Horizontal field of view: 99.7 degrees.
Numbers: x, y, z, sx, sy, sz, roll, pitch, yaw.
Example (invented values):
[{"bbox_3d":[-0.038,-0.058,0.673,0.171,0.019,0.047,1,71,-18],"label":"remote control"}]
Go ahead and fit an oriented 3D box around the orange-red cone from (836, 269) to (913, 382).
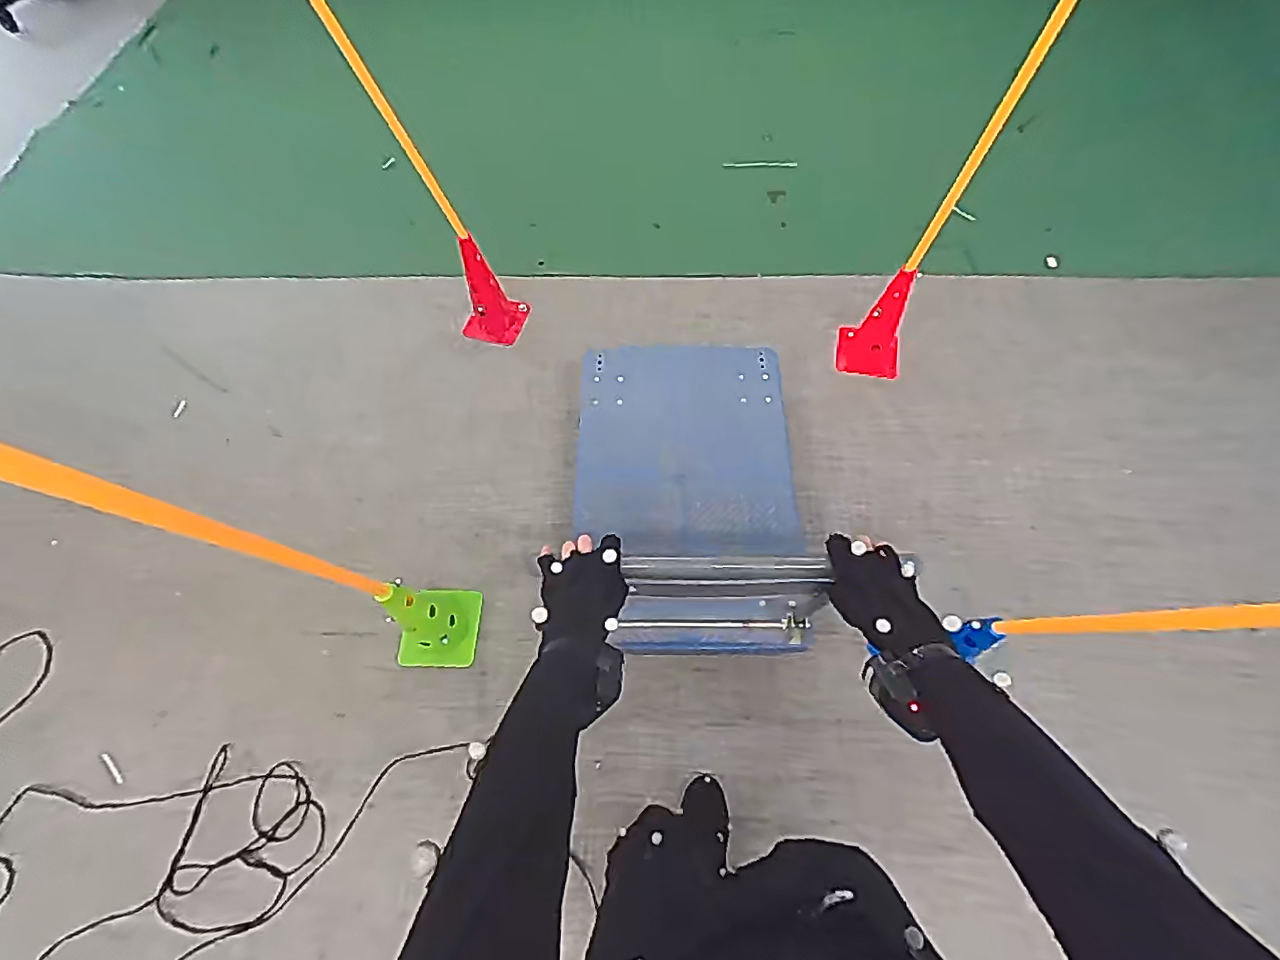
[{"bbox_3d":[0.753,-0.492,1.658,0.198,0.360,0.199,11,65,9],"label":"orange-red cone"}]
